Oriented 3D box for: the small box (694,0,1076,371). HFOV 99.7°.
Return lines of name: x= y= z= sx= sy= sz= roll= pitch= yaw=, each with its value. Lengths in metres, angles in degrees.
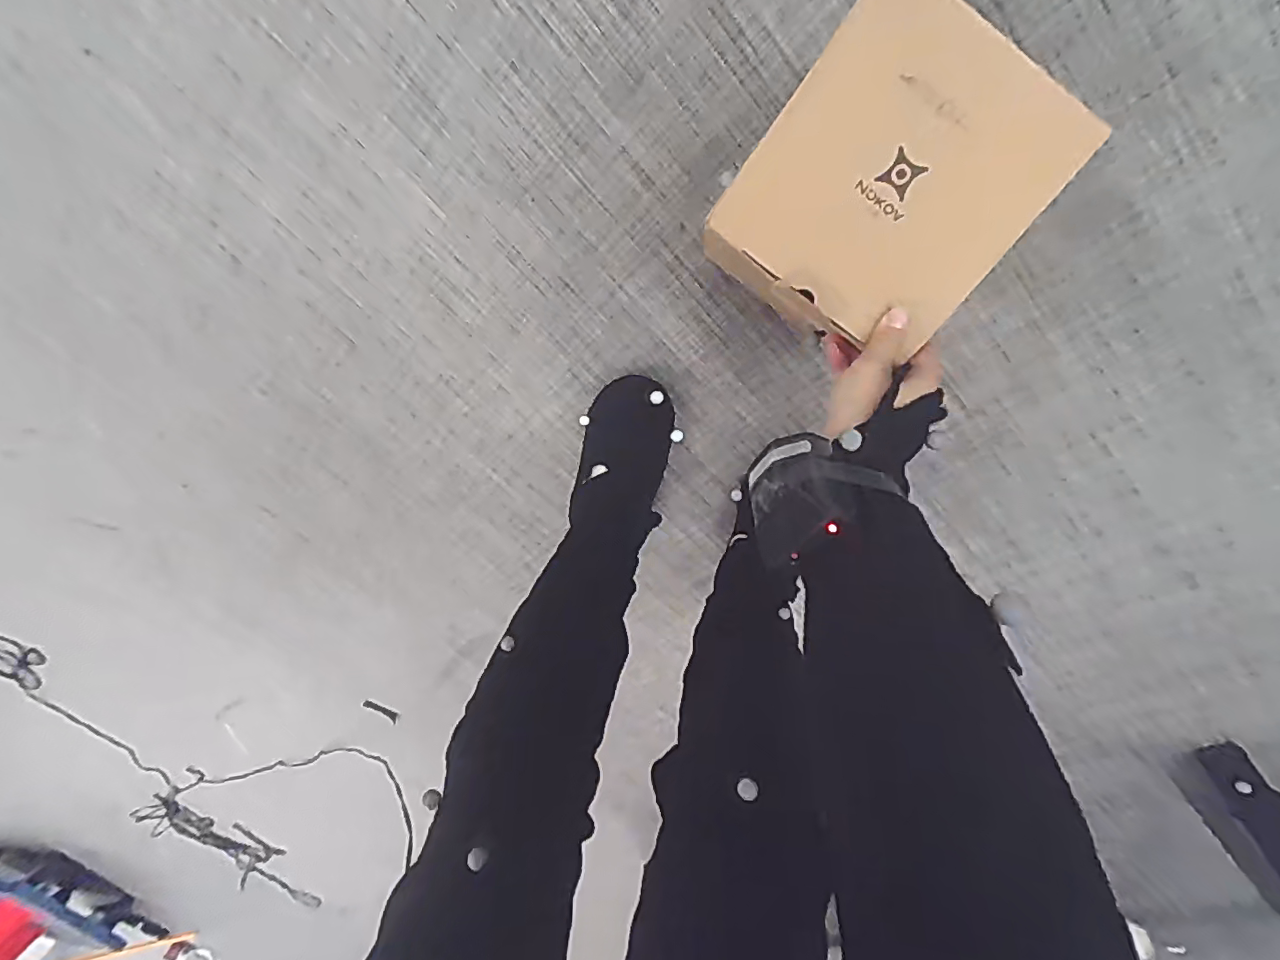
small box: x=0.159 y=-0.207 z=0.419 sx=0.168 sy=0.176 sz=0.179 roll=36 pitch=106 yaw=-5
